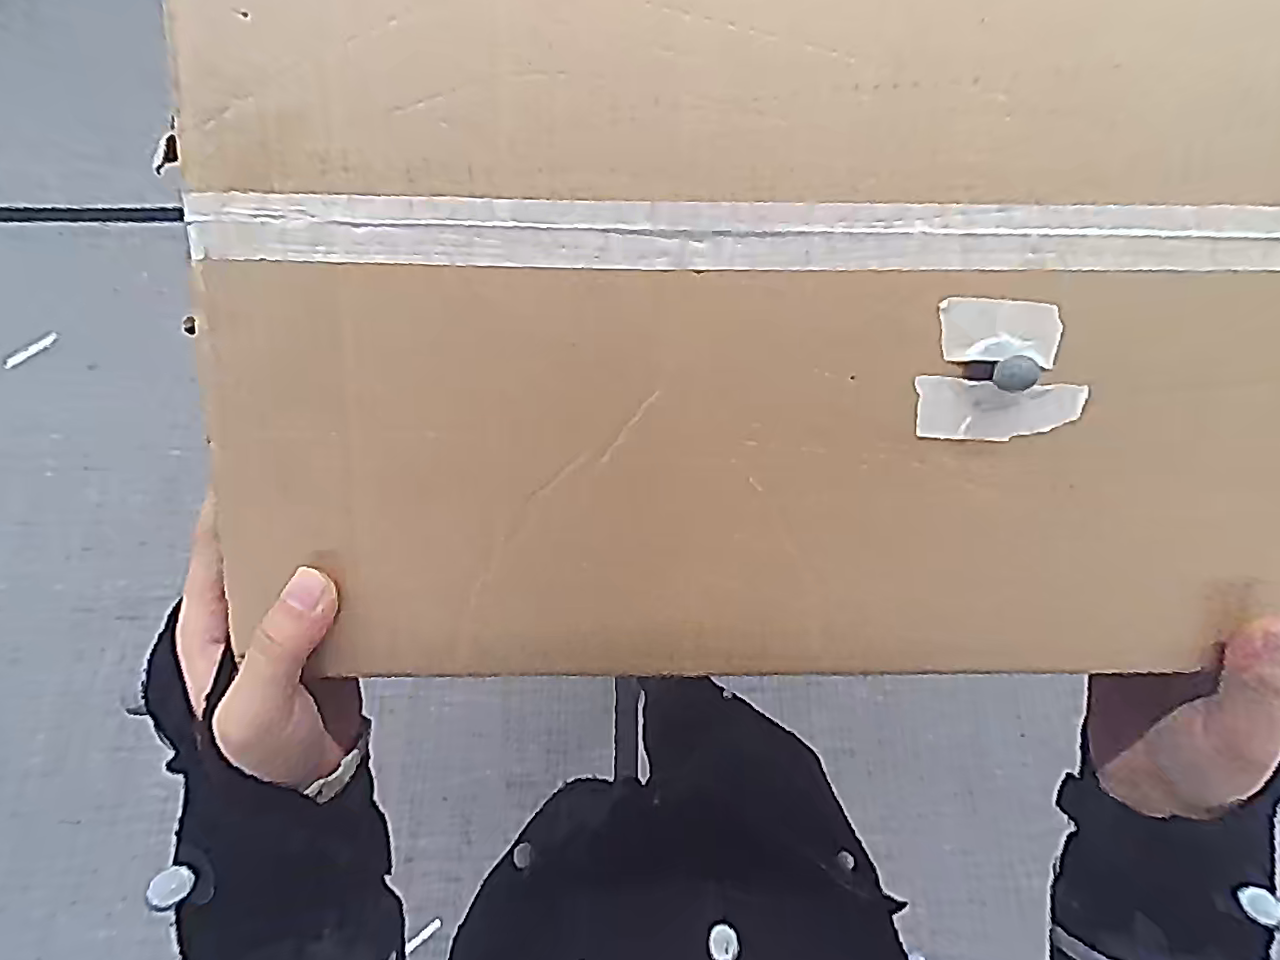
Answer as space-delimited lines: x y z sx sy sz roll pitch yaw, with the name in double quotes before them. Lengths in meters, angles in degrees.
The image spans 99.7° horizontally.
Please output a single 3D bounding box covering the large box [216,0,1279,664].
"large box" 0.049 -0.101 0.345 0.408 0.320 0.320 0 97 -3
